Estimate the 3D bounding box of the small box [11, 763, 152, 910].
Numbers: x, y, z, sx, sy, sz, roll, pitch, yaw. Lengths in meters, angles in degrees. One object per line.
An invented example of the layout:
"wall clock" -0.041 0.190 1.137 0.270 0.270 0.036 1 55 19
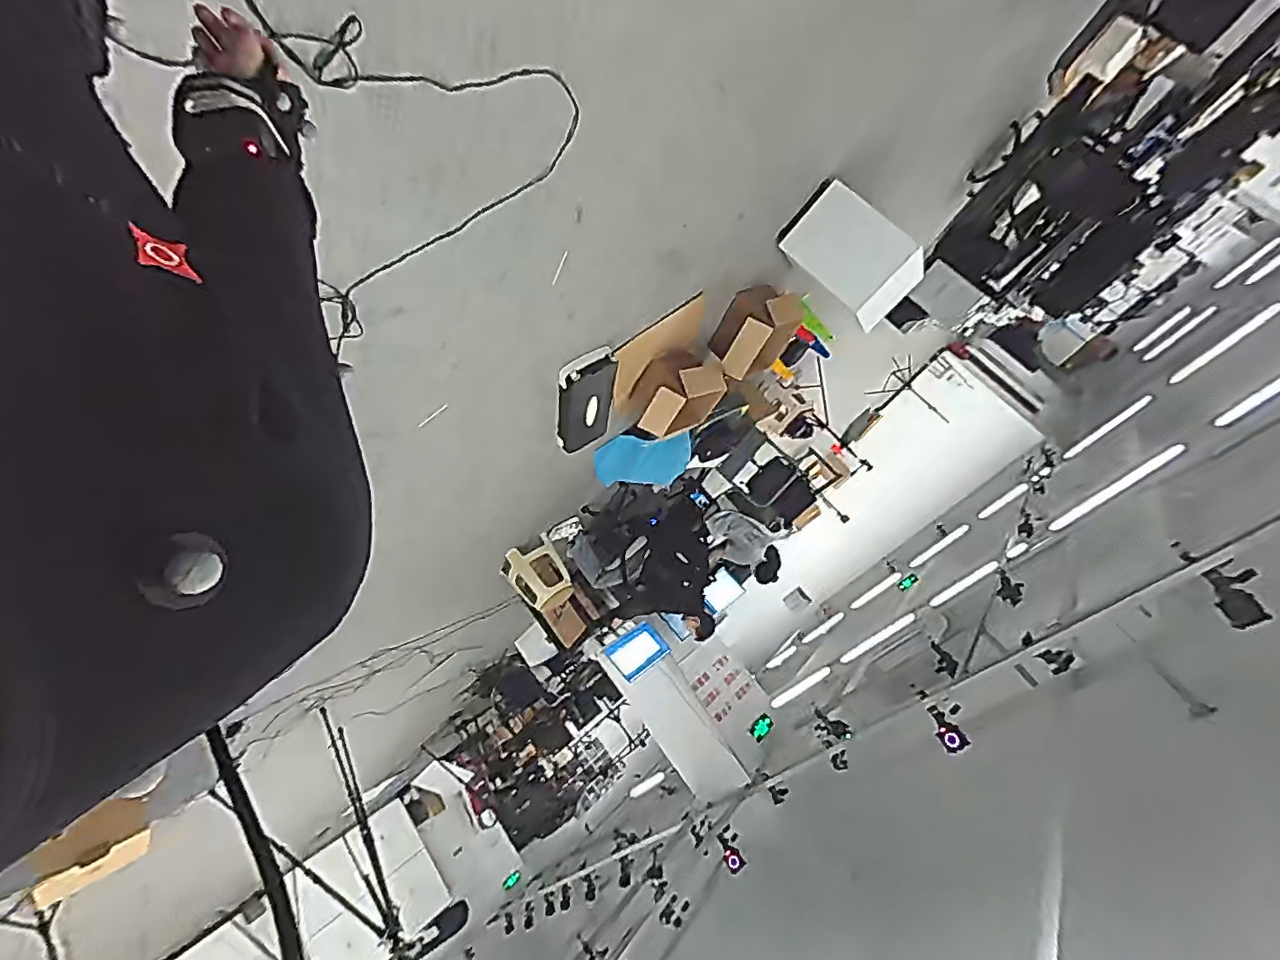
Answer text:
"small box" -1.123 0.710 1.093 0.168 0.176 0.179 -16 153 -51
